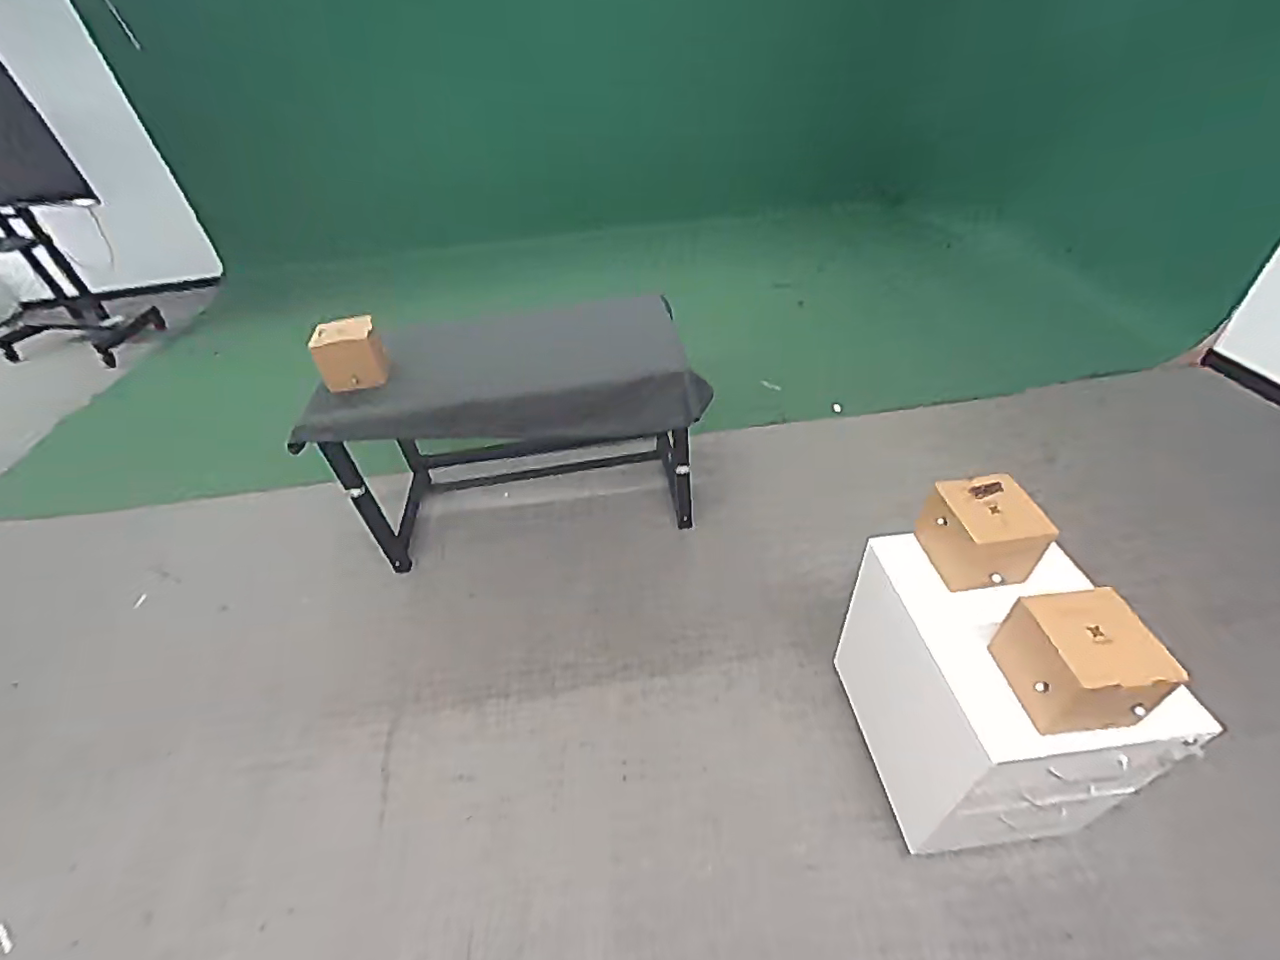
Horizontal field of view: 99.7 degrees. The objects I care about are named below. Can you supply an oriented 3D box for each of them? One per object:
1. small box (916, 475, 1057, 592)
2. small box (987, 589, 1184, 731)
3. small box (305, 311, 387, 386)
[{"bbox_3d":[0.724,0.115,1.158,0.168,0.176,0.179,-7,44,-2],"label":"small box"},{"bbox_3d":[0.751,0.316,0.937,0.168,0.176,0.179,-5,40,-1],"label":"small box"},{"bbox_3d":[-0.933,-0.422,1.736,0.179,0.176,0.168,-11,42,-9],"label":"small box"}]
